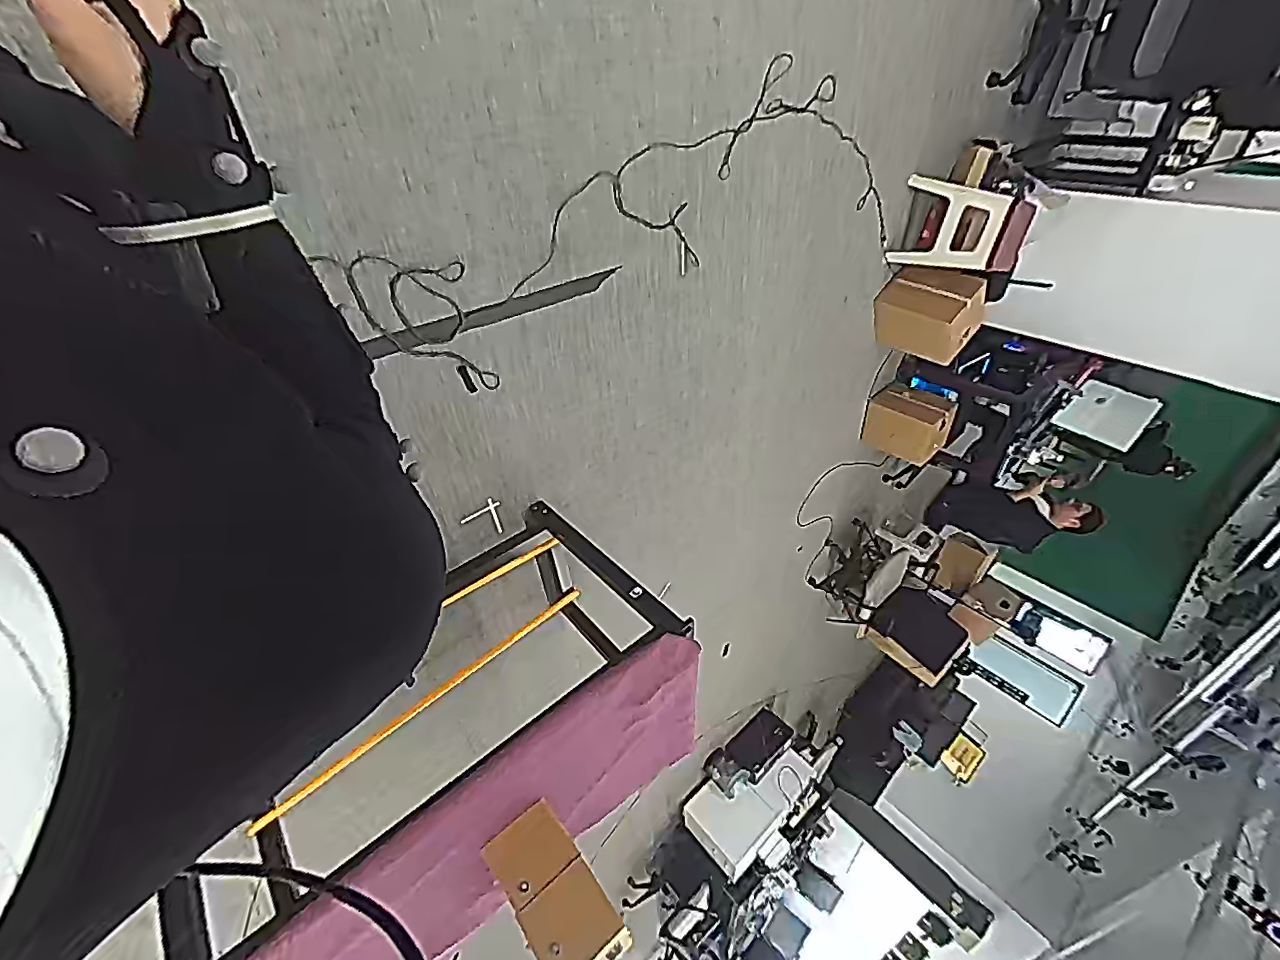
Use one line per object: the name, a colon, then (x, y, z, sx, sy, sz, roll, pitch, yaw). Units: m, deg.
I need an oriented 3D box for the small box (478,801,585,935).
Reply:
small box: (-0.255, 0.911, 1.284, 0.179, 0.176, 0.168, -30, 135, -29)
